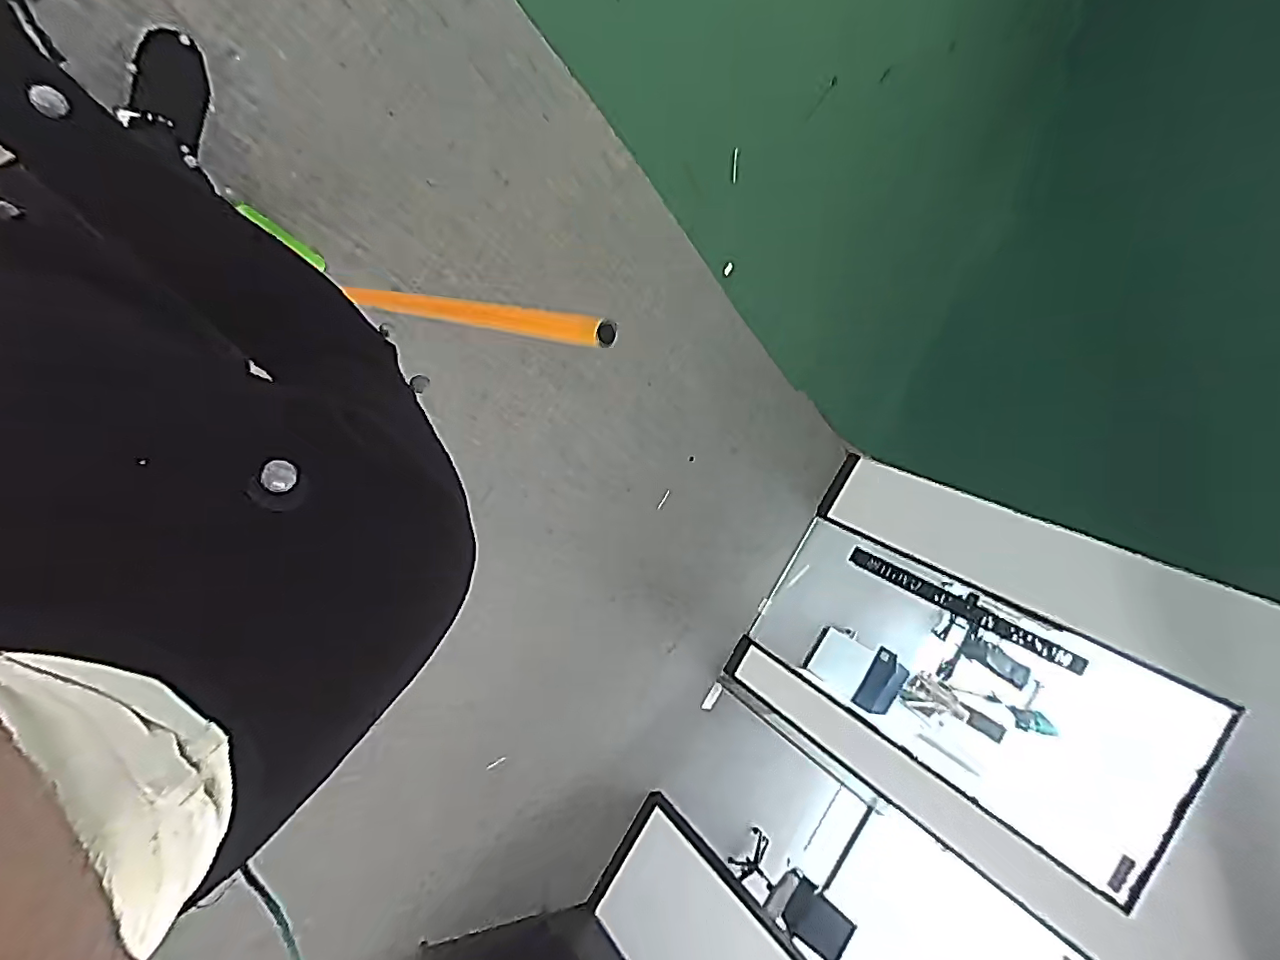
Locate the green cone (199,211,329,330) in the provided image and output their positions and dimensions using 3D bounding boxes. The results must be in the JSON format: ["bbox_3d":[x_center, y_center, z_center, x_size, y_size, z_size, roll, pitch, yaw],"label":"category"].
[{"bbox_3d":[-0.749,-0.419,1.129,0.202,0.368,0.200,34,86,-46],"label":"green cone"}]
